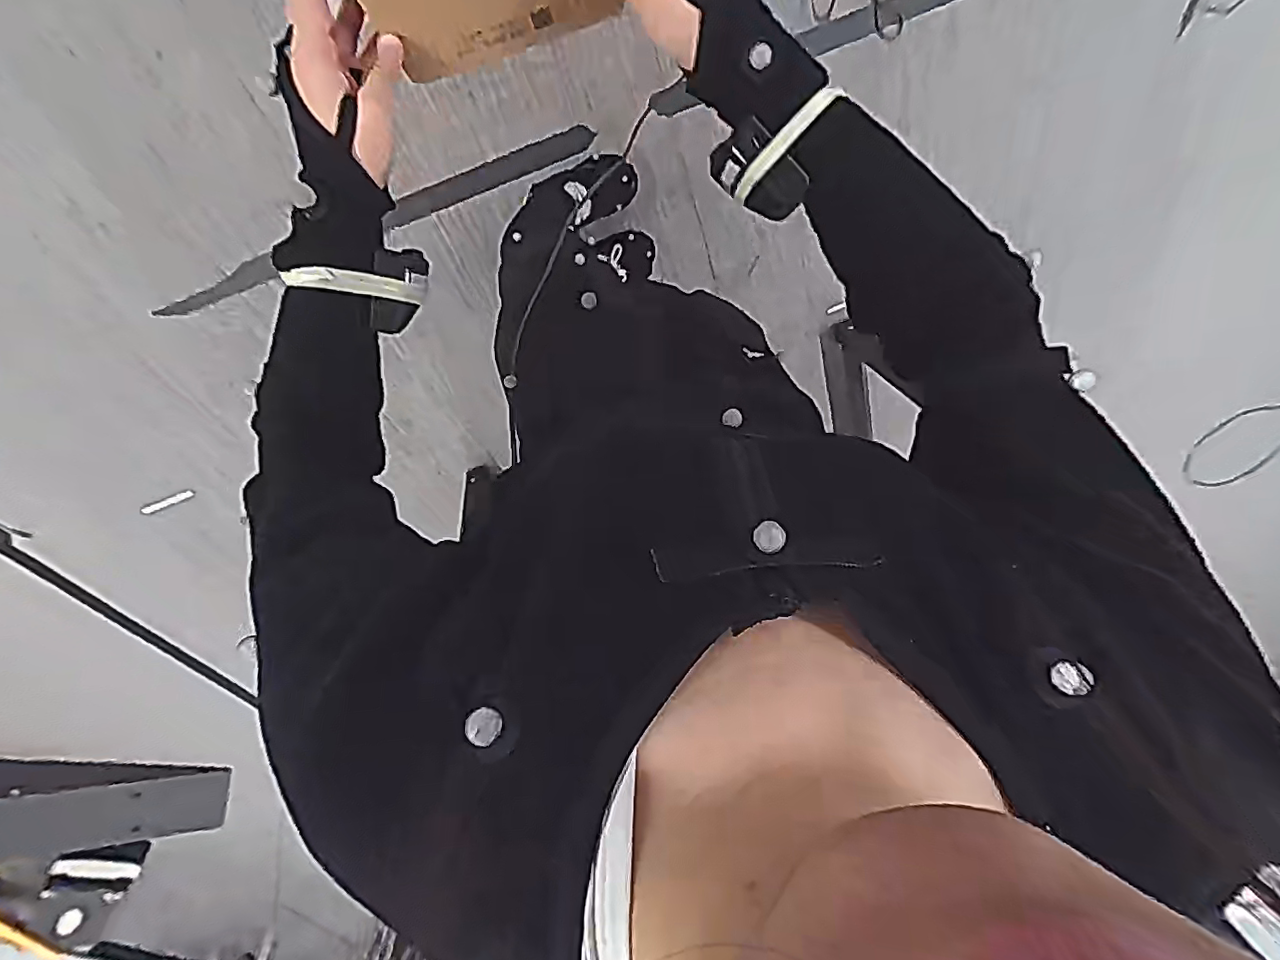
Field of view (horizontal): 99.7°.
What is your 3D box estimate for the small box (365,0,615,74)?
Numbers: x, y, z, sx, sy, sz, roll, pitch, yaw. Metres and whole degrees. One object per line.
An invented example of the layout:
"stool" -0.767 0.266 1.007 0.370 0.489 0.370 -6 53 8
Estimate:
"small box" -0.117 -0.390 0.303 0.168 0.176 0.179 -17 91 4
